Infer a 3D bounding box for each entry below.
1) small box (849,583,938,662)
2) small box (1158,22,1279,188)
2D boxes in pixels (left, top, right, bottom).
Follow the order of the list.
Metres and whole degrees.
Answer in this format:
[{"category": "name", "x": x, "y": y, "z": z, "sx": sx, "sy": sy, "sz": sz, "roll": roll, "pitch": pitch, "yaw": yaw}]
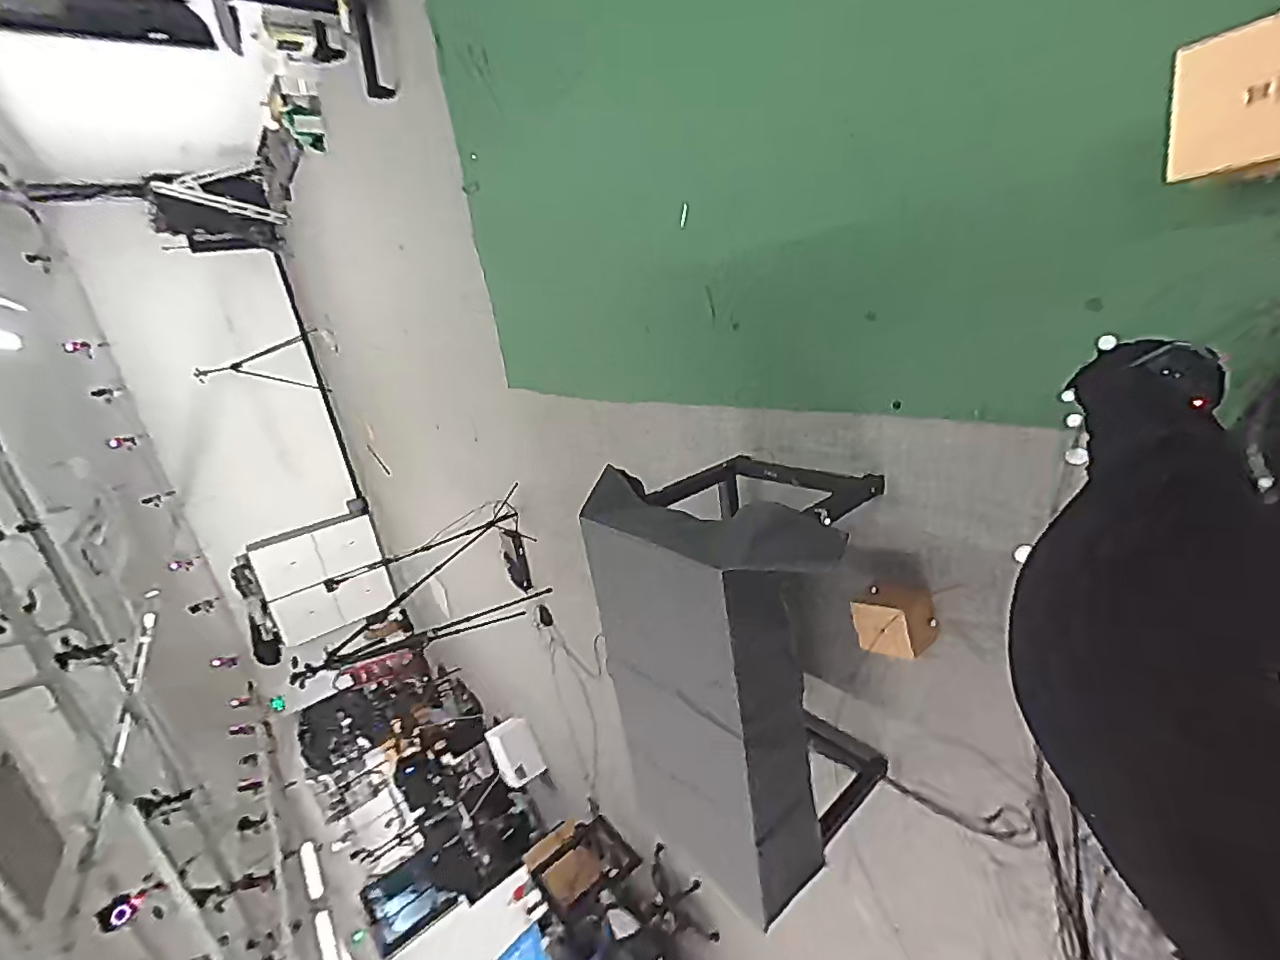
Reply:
[{"category": "small box", "x": 0.785, "y": 0.431, "z": 1.671, "sx": 0.179, "sy": 0.176, "sz": 0.168, "roll": -4, "pitch": 105, "yaw": 55}, {"category": "small box", "x": 0.863, "y": -0.517, "z": 0.750, "sx": 0.179, "sy": 0.176, "sz": 0.168, "roll": 10, "pitch": 116, "yaw": 51}]
